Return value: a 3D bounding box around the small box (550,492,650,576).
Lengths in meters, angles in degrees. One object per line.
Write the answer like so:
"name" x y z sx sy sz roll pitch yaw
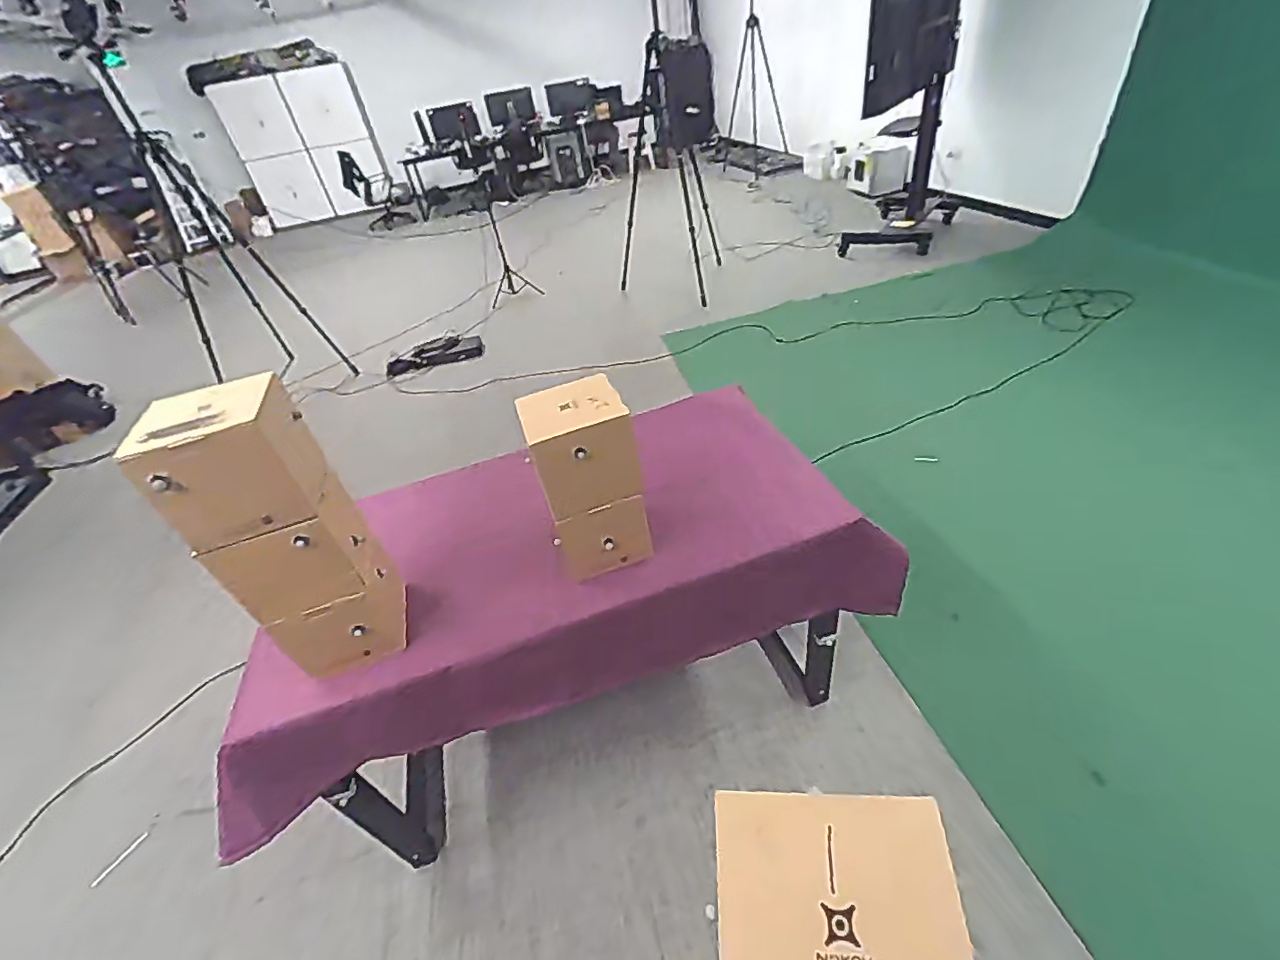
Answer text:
"small box" -0.088 0.070 1.079 0.168 0.176 0.179 -17 40 -9

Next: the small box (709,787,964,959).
"small box" 0.144 0.358 0.430 0.168 0.176 0.179 -3 53 9

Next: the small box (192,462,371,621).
"small box" -0.570 0.102 0.889 0.179 0.176 0.168 -18 39 -12

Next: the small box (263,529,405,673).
"small box" -0.543 0.226 0.990 0.168 0.176 0.179 -18 38 -11

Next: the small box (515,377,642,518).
"small box" -0.108 -0.057 0.975 0.179 0.176 0.168 -18 39 -9
